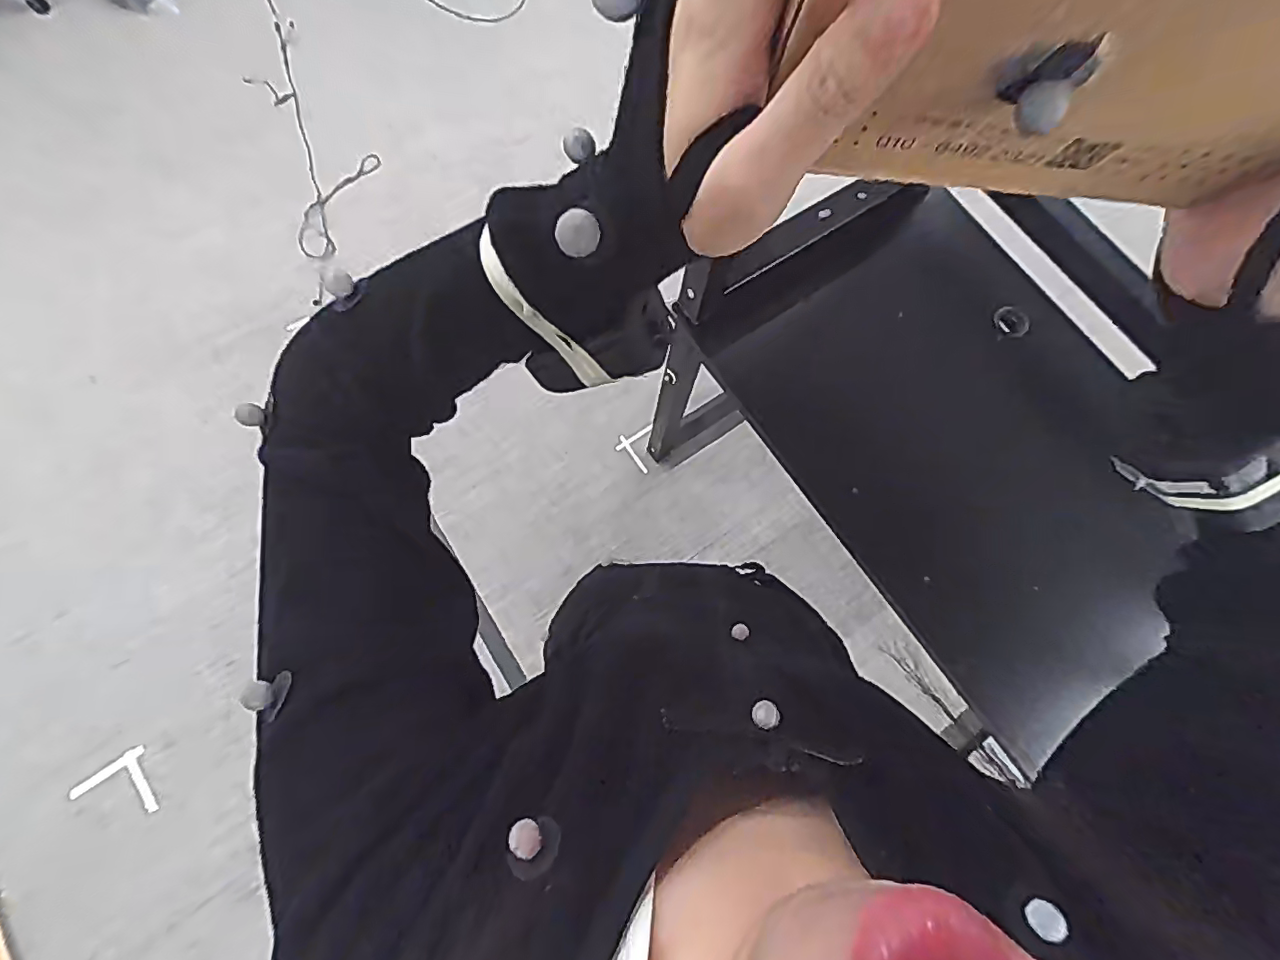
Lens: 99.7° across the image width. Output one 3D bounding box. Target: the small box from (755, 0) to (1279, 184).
[{"bbox_3d":[0.124,-0.188,0.096,0.168,0.176,0.179,4,94,-2],"label":"small box"}]
